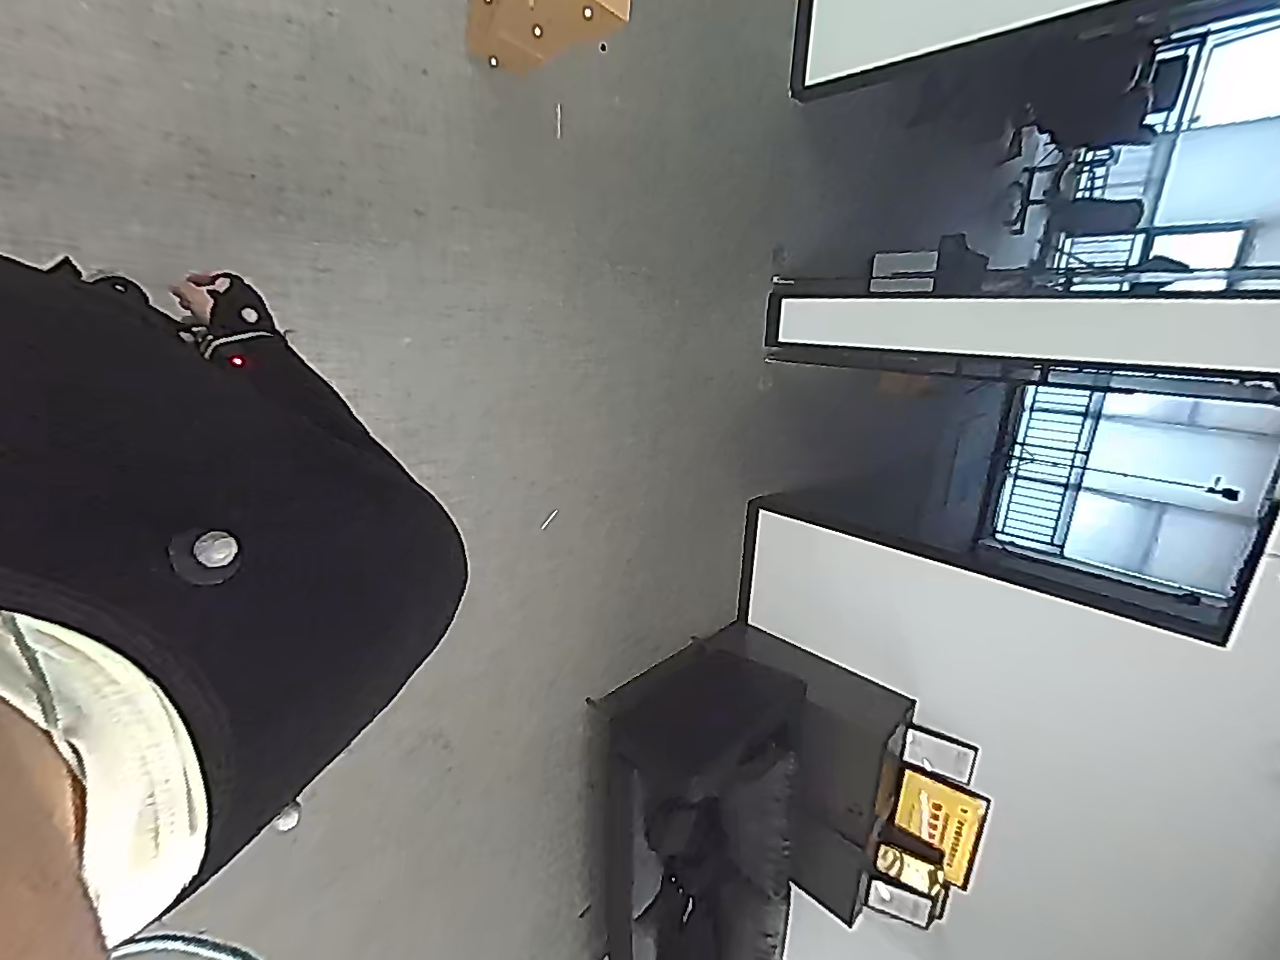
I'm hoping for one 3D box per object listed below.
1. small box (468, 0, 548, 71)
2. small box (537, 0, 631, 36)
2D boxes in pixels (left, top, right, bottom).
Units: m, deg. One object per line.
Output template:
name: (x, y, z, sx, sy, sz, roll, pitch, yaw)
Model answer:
small box: (-0.373, -1.314, 1.534, 0.168, 0.176, 0.179, -7, 109, -45)
small box: (-0.136, -1.234, 1.321, 0.179, 0.176, 0.168, -9, 110, -45)
